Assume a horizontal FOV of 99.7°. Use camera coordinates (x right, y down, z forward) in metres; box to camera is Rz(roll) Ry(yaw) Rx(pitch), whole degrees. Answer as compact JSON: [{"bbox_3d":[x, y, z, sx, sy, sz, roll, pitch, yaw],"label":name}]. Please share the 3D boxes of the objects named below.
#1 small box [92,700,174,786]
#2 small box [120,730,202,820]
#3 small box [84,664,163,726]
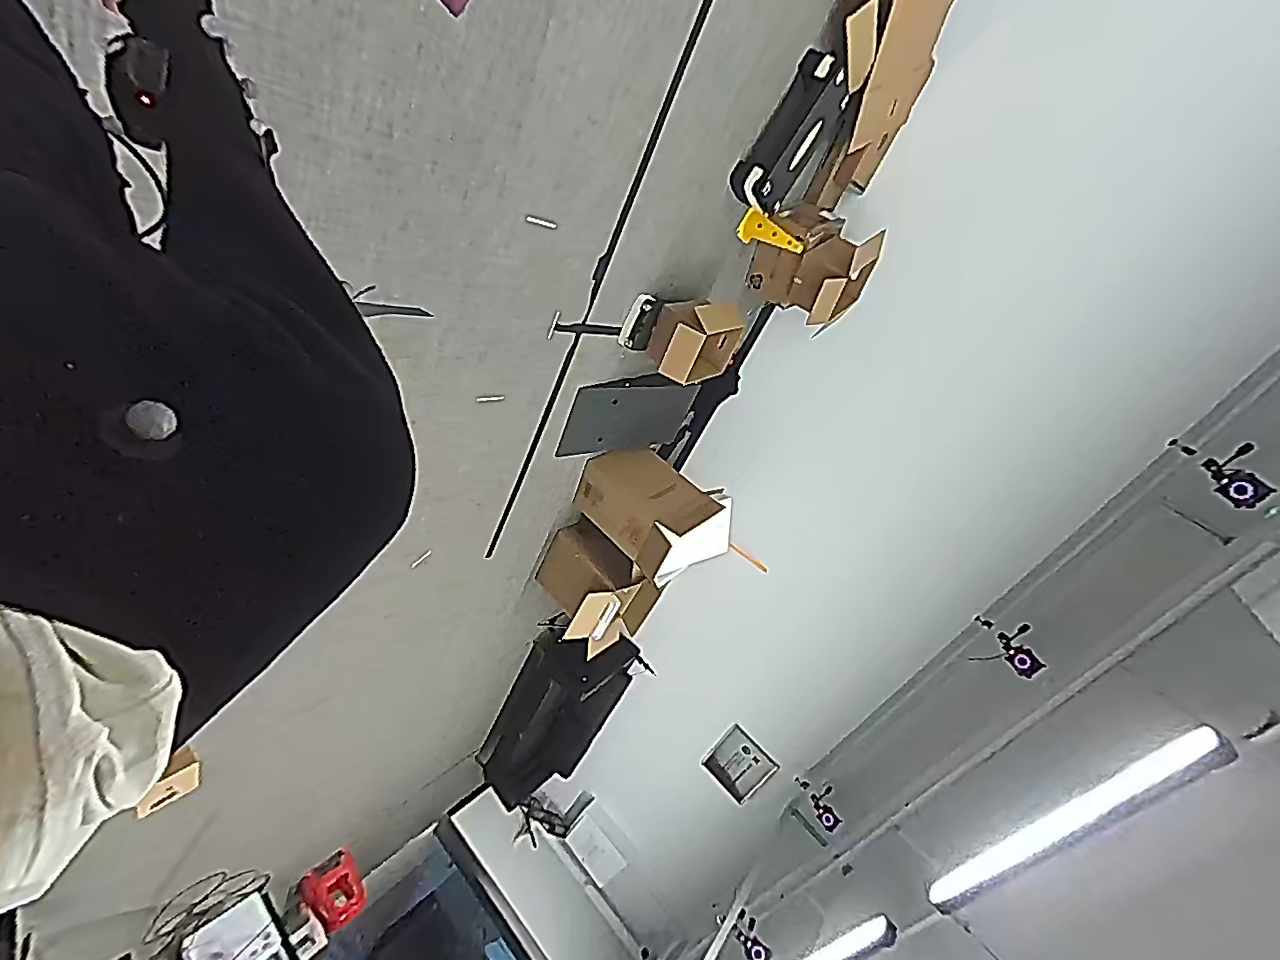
[{"bbox_3d":[-1.743,0.906,1.875,0.179,0.176,0.168,-24,147,-49],"label":"small box"},{"bbox_3d":[-1.608,0.984,1.817,0.168,0.176,0.179,-22,145,-53],"label":"small box"},{"bbox_3d":[-1.851,0.801,1.942,0.168,0.176,0.179,-23,146,-50],"label":"small box"}]
